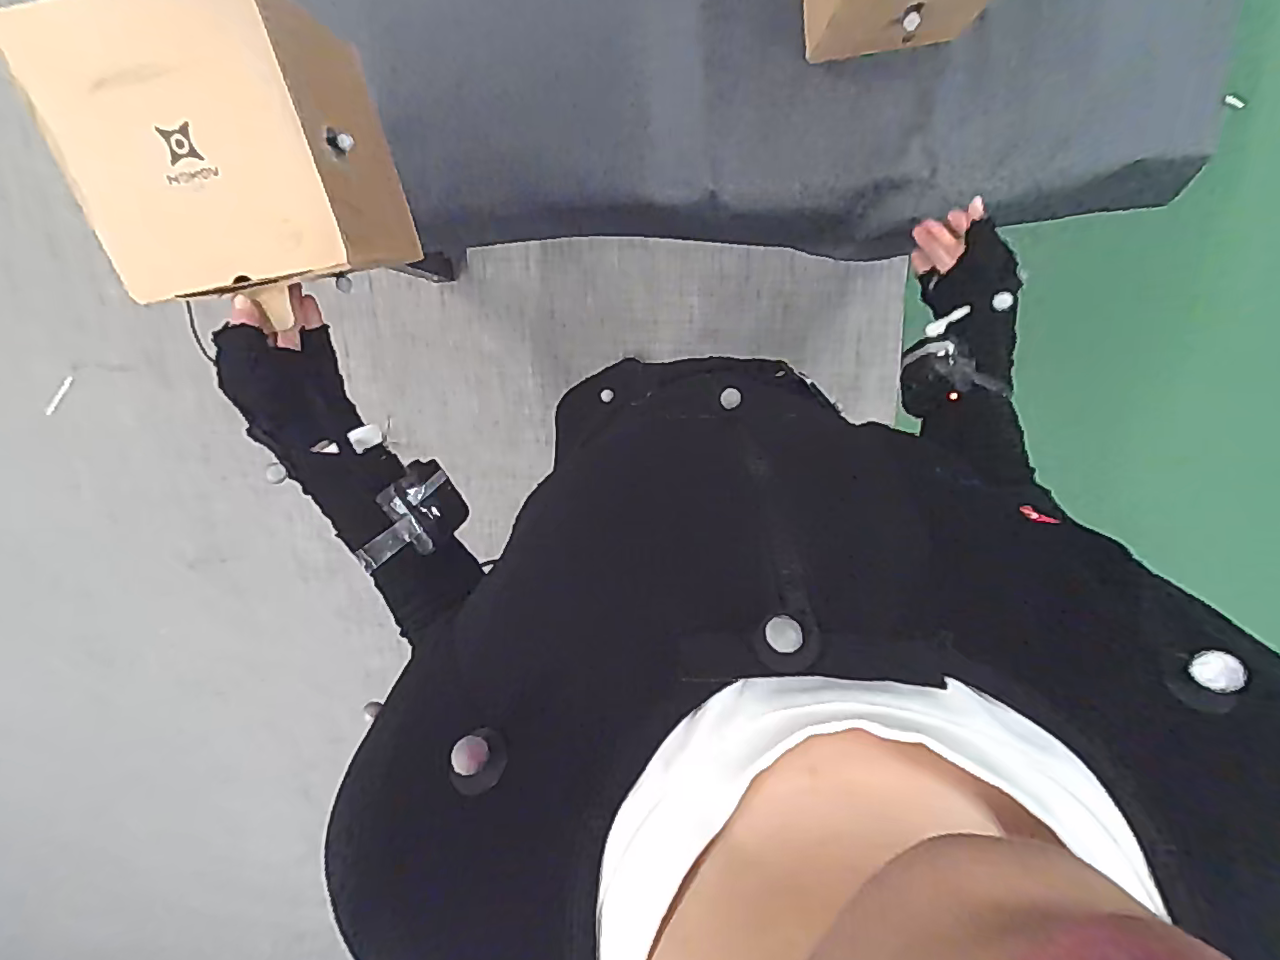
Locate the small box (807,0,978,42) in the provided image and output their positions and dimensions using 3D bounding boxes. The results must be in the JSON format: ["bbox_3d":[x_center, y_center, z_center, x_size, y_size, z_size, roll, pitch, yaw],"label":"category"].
[{"bbox_3d":[0.255,-0.543,0.495,0.168,0.176,0.179,-7,105,2],"label":"small box"}]

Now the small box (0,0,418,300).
[{"bbox_3d":[-0.301,-0.254,0.426,0.168,0.176,0.179,-10,114,1],"label":"small box"}]
